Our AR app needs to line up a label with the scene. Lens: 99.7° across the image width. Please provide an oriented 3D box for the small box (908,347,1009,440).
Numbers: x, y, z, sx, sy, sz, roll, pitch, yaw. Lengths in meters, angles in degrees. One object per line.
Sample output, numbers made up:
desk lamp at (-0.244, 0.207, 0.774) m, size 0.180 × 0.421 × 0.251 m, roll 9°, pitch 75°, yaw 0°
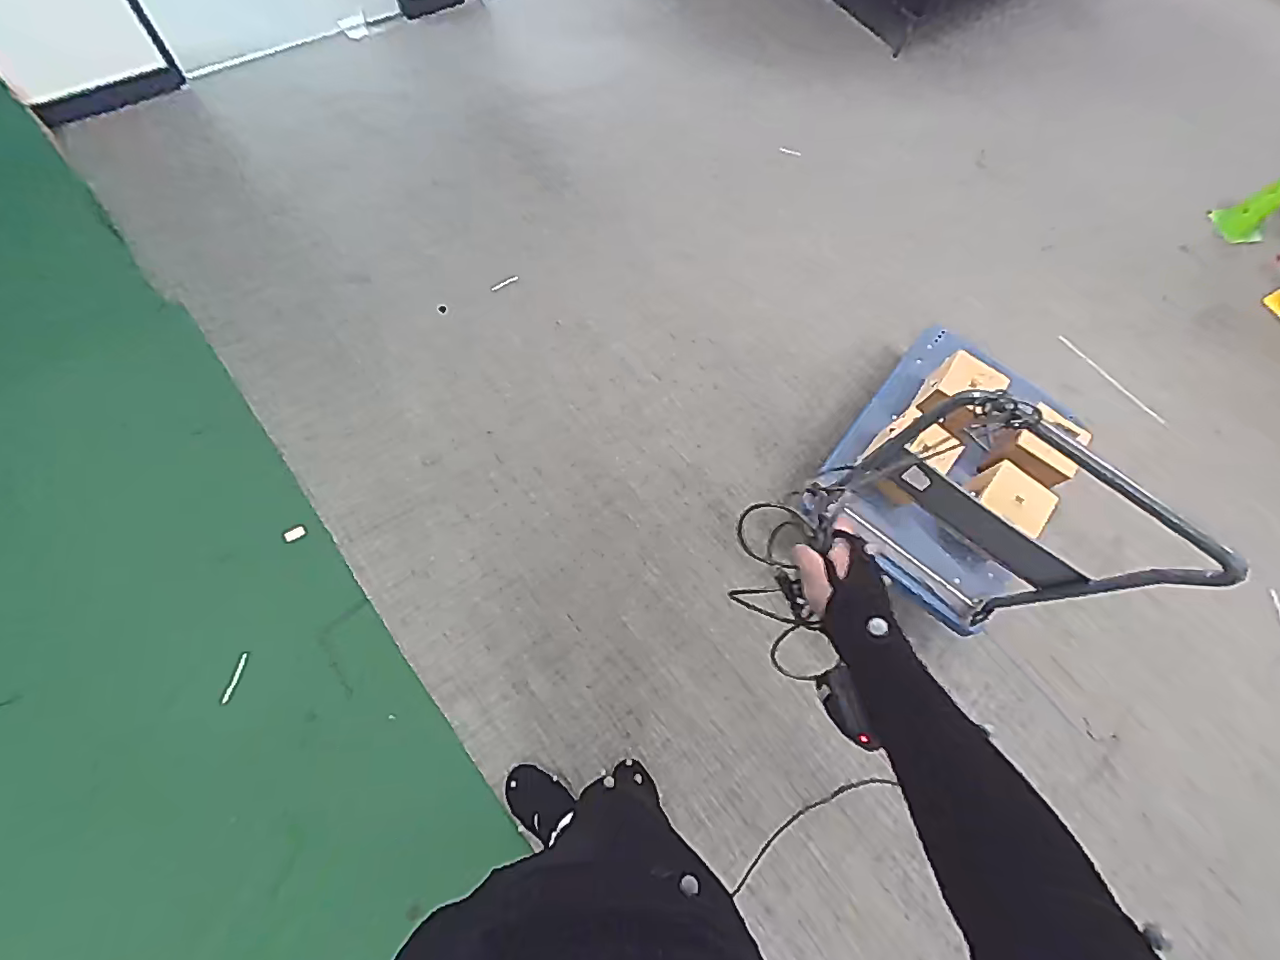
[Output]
small box at (0.924, -0.247, 1.588) m, size 0.168 × 0.176 × 0.179 m, roll 36°, pitch 69°, yaw 7°

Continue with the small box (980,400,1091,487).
small box at (1.122, -0.089, 1.546) m, size 0.168 × 0.176 × 0.179 m, roll 37°, pitch 69°, yaw 9°

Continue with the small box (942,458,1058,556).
small box at (0.963, 0.078, 1.463) m, size 0.168 × 0.176 × 0.179 m, roll 40°, pitch 70°, yaw 10°
